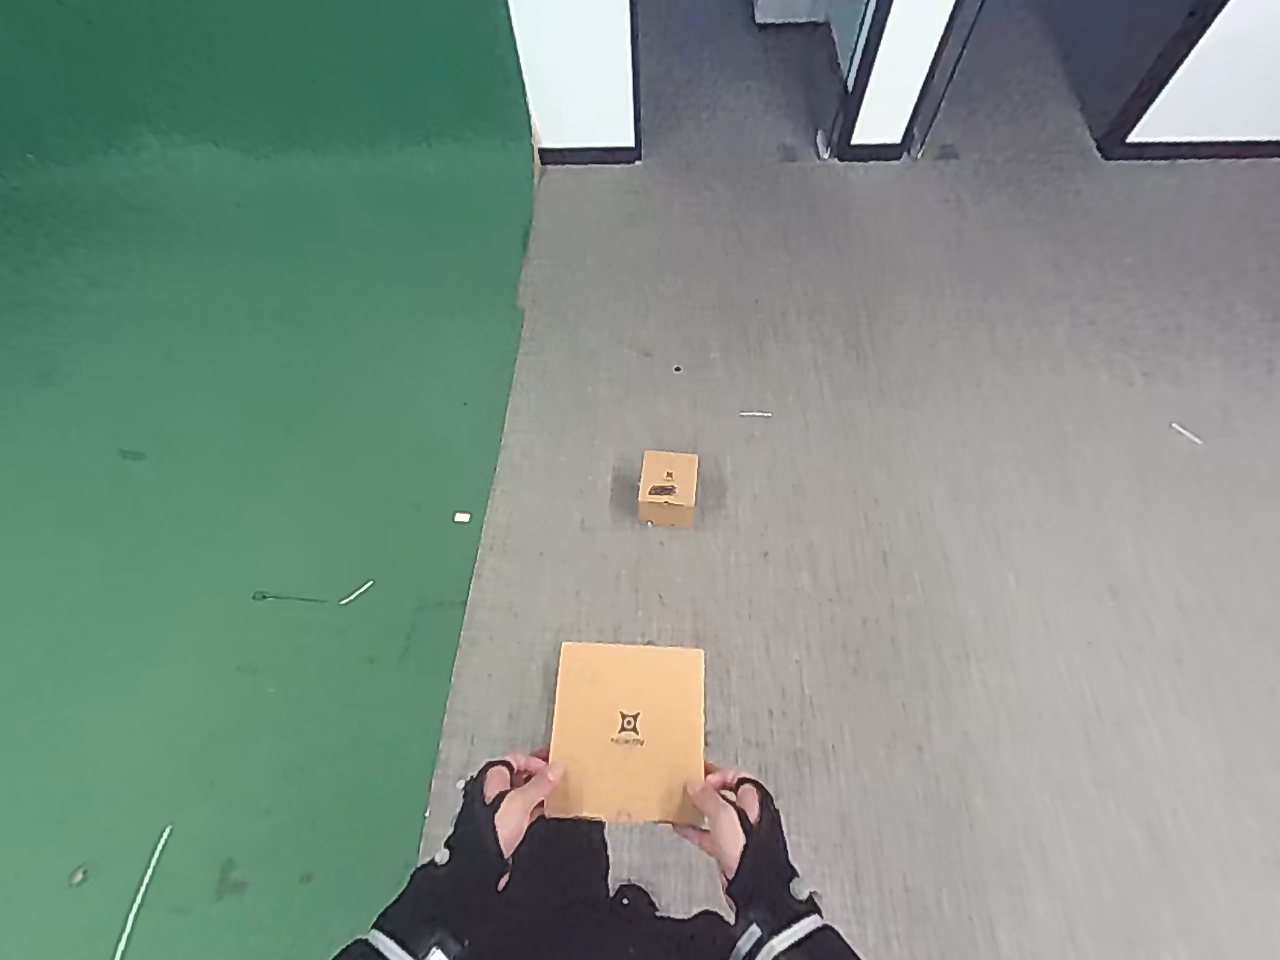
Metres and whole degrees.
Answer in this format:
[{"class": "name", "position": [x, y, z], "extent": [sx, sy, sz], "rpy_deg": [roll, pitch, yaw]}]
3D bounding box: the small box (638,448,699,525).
[{"class": "small box", "position": [0.087, 0.023, 1.656], "extent": [0.168, 0.176, 0.179], "rpy_deg": [6, 62, 4]}]
